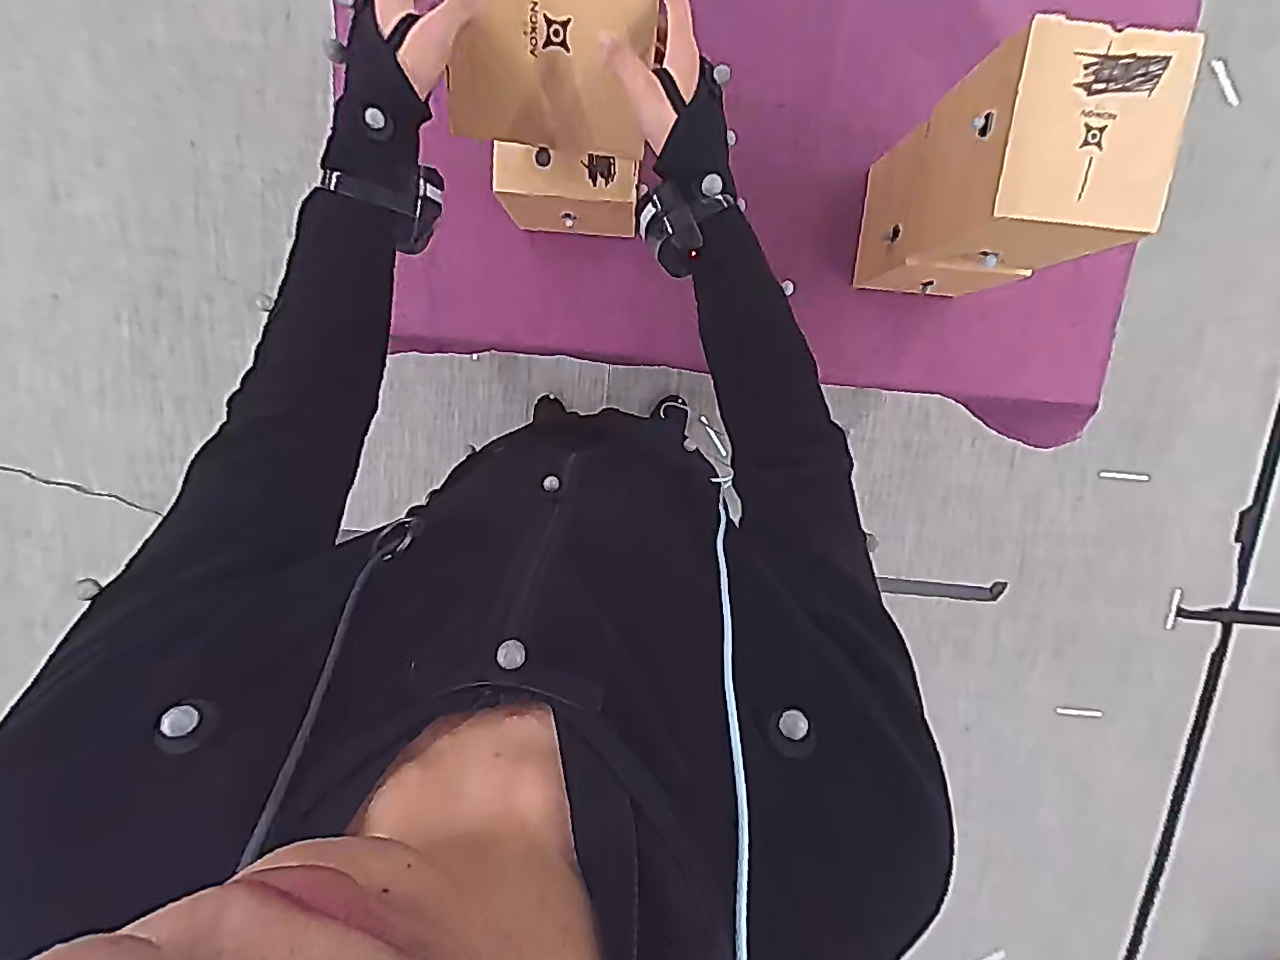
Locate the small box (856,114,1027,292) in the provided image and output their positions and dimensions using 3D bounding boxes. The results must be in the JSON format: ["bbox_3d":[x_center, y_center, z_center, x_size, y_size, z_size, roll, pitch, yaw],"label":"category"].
[{"bbox_3d":[0.420,-0.368,0.753,0.168,0.176,0.179,5,100,-2],"label":"small box"}]

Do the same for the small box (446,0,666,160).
[{"bbox_3d":[-0.073,-0.415,0.507,0.179,0.176,0.168,4,126,-5],"label":"small box"}]

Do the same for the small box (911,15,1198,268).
[{"bbox_3d":[0.426,-0.347,0.590,0.168,0.176,0.179,6,101,-2],"label":"small box"}]
